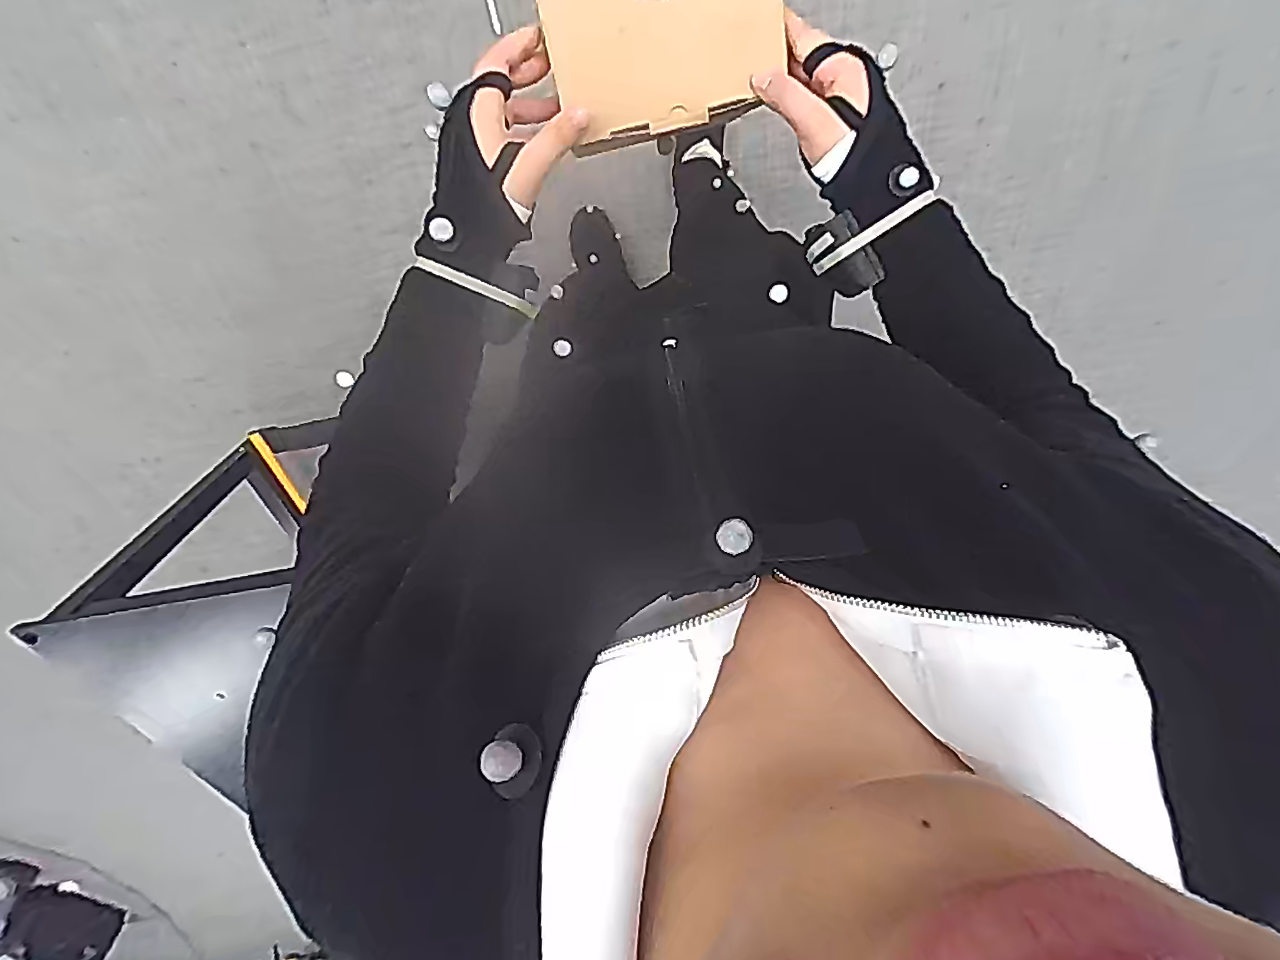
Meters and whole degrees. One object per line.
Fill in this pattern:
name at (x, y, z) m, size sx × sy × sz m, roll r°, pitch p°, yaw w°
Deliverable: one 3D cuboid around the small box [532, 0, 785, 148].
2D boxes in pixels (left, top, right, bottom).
small box at (0.003, -0.373, 0.417) m, size 0.168 × 0.176 × 0.179 m, roll -13°, pitch 120°, yaw 2°
